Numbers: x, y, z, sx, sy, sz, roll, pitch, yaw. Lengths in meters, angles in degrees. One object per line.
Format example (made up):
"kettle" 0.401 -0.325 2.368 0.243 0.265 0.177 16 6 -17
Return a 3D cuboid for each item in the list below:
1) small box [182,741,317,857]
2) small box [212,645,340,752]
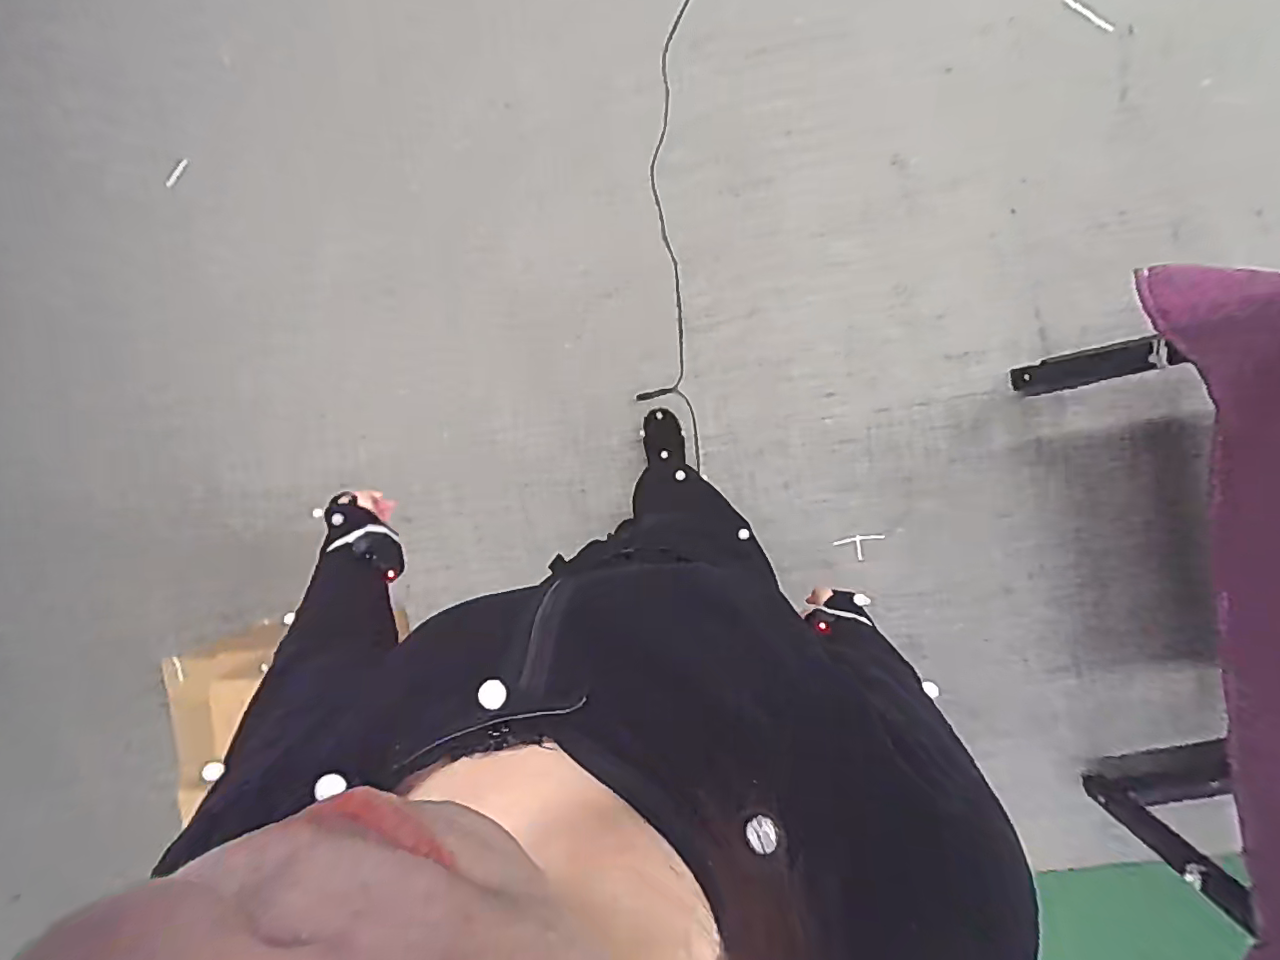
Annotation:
"small box" -0.869 0.704 1.216 0.179 0.176 0.168 -2 96 6
"small box" -0.785 0.472 1.187 0.179 0.176 0.168 -1 94 6
